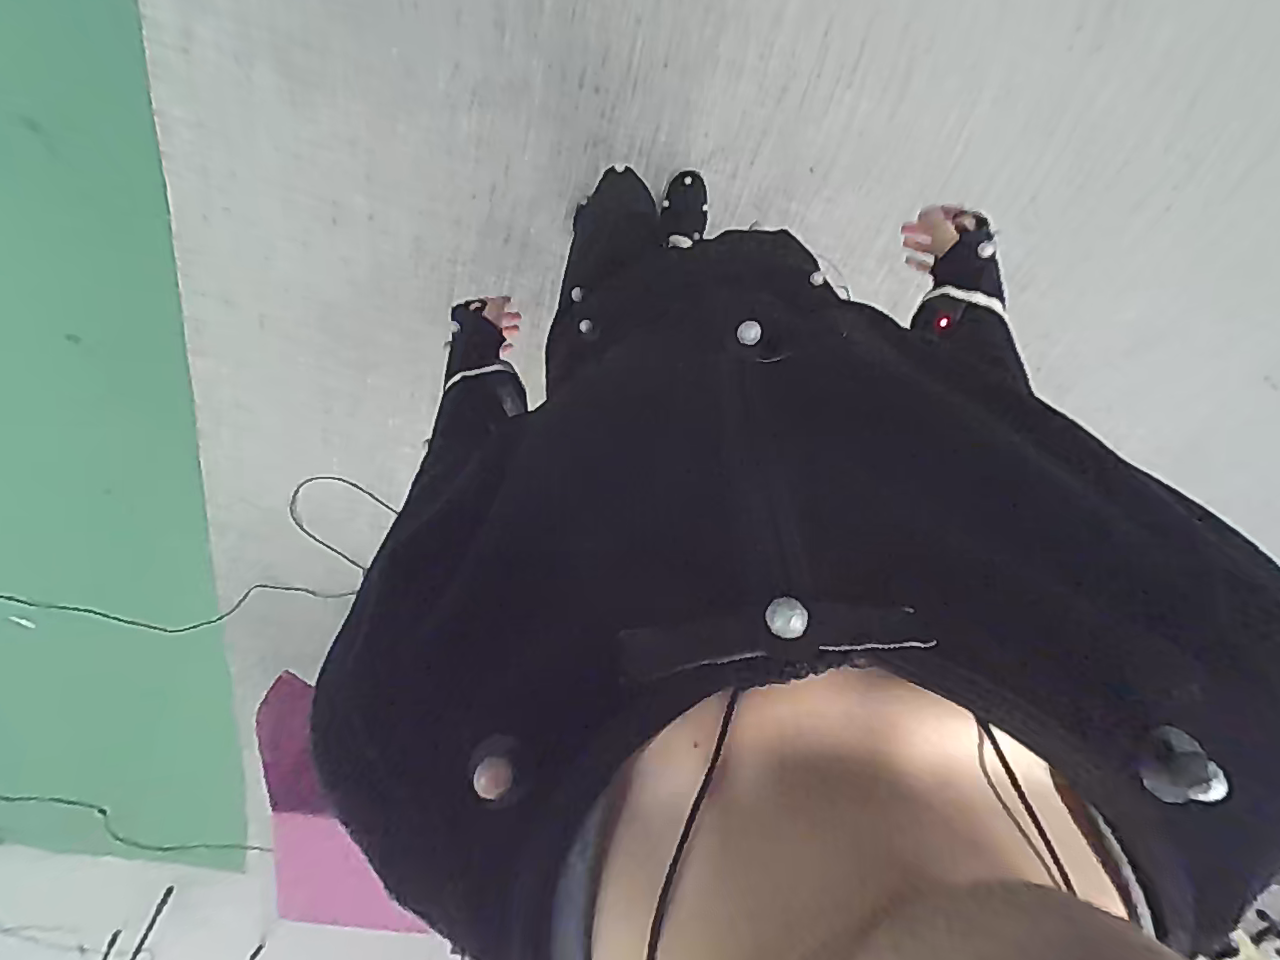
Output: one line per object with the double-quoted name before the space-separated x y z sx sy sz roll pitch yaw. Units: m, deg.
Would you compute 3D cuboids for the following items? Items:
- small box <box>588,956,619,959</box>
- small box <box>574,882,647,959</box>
"small box" -0.072 1.252 1.263 0.179 0.176 0.168 9 120 -5
"small box" -0.079 1.189 1.416 0.168 0.176 0.179 10 121 -4
